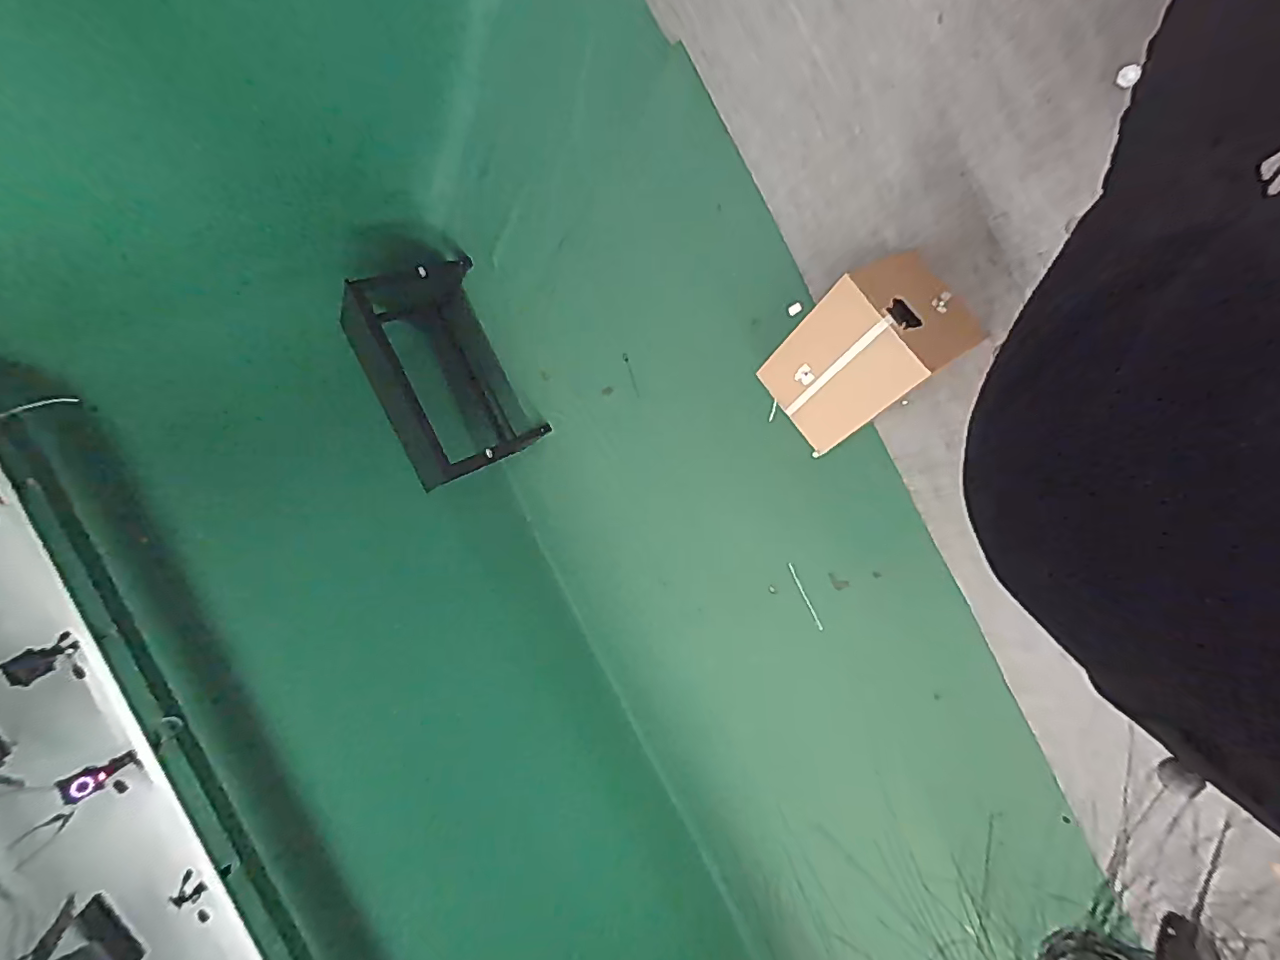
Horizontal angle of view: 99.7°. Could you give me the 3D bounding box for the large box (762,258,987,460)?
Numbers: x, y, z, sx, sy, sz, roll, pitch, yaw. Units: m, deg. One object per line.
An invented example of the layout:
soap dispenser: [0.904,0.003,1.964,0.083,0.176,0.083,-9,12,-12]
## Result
large box: [0.621,-0.324,1.478,0.320,0.320,0.408,56,148,12]
